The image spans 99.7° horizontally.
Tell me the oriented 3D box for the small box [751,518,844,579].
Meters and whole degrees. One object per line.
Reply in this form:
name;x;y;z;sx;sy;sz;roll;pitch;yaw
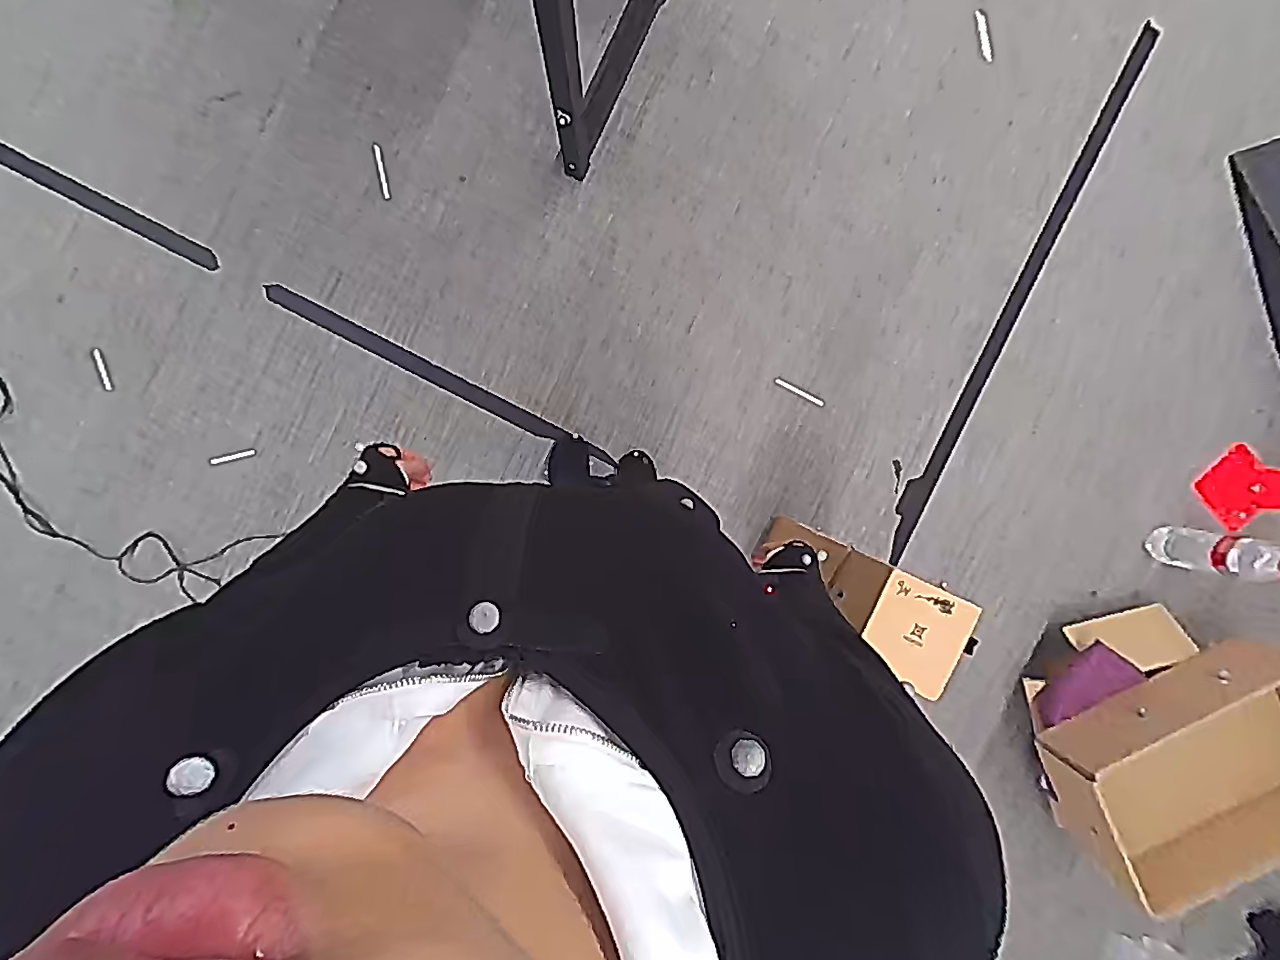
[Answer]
small box;0.420;0.216;1.457;0.168;0.176;0.179;27;92;-3

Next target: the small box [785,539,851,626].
small box;0.429;0.235;1.131;0.179;0.176;0.168;26;92;-4

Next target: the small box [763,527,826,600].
small box;0.421;0.224;1.293;0.179;0.176;0.168;27;91;-3

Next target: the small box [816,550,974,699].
small box;0.438;0.248;0.968;0.168;0.176;0.179;26;93;-3
